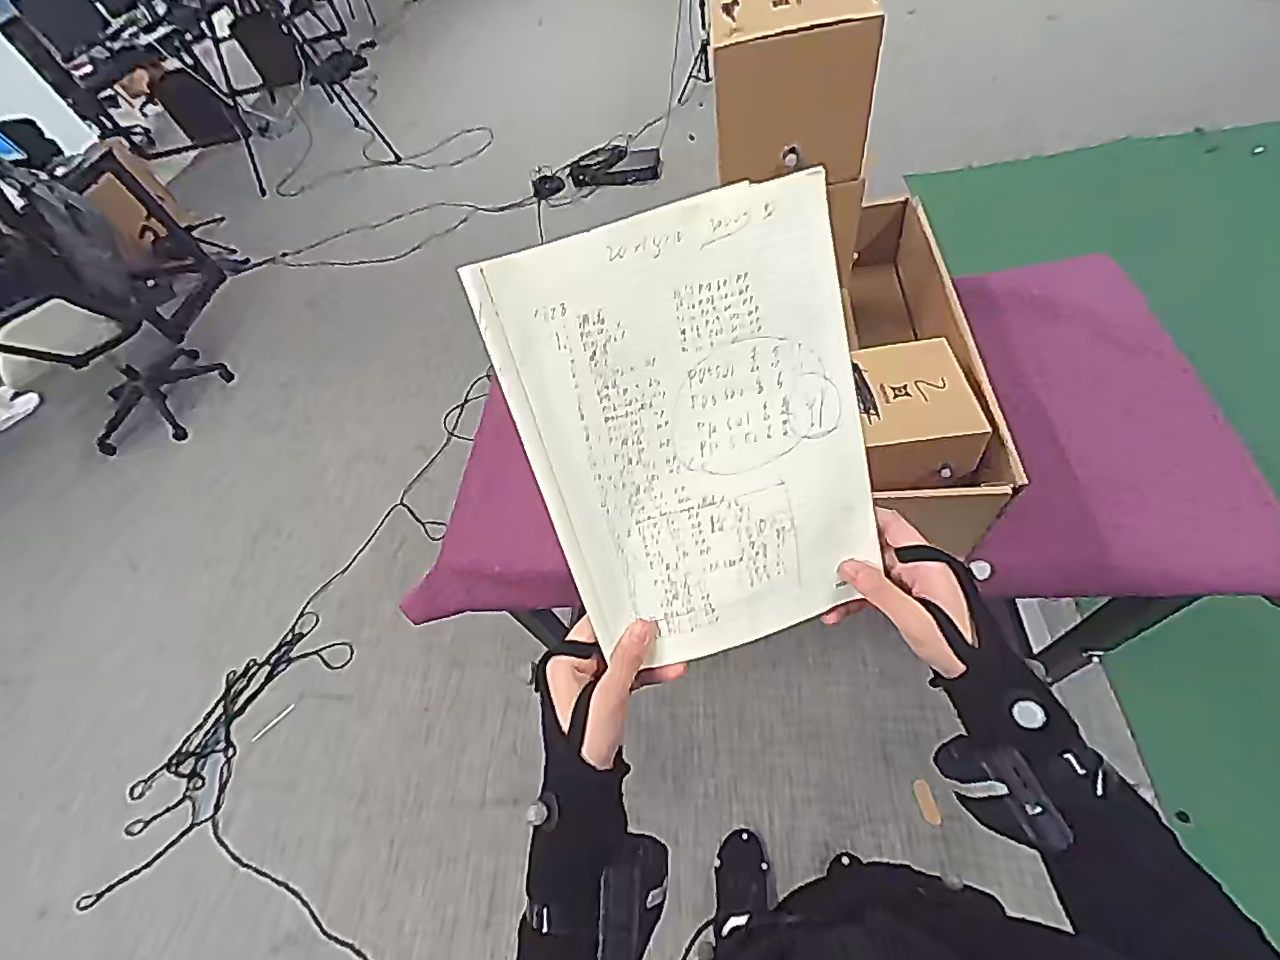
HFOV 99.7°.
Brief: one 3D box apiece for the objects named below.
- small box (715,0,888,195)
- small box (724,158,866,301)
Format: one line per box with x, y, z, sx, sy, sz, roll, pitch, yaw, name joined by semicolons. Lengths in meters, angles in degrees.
0.183;-0.482;0.667;0.179;0.176;0.168;-2;56;10;small box
0.215;-0.390;0.799;0.179;0.176;0.168;-5;56;10;small box
